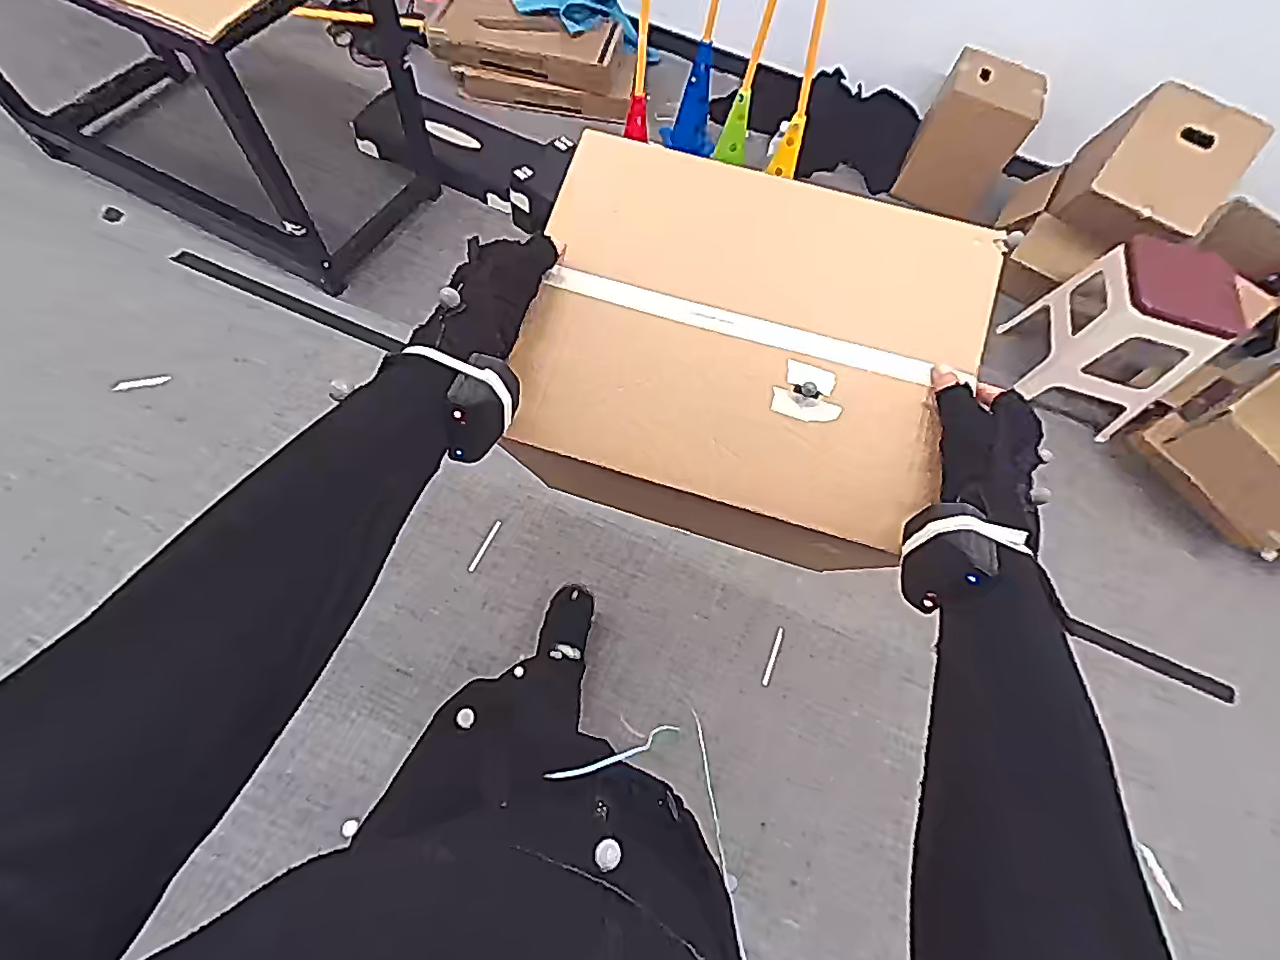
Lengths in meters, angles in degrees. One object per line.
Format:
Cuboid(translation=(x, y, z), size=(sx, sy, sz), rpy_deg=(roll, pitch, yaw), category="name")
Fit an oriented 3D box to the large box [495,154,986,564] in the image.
Cuboid(translation=(0.099, -0.106, 0.648), size=(0.408, 0.320, 0.320), rpy_deg=(17, 81, 4), category="large box")
